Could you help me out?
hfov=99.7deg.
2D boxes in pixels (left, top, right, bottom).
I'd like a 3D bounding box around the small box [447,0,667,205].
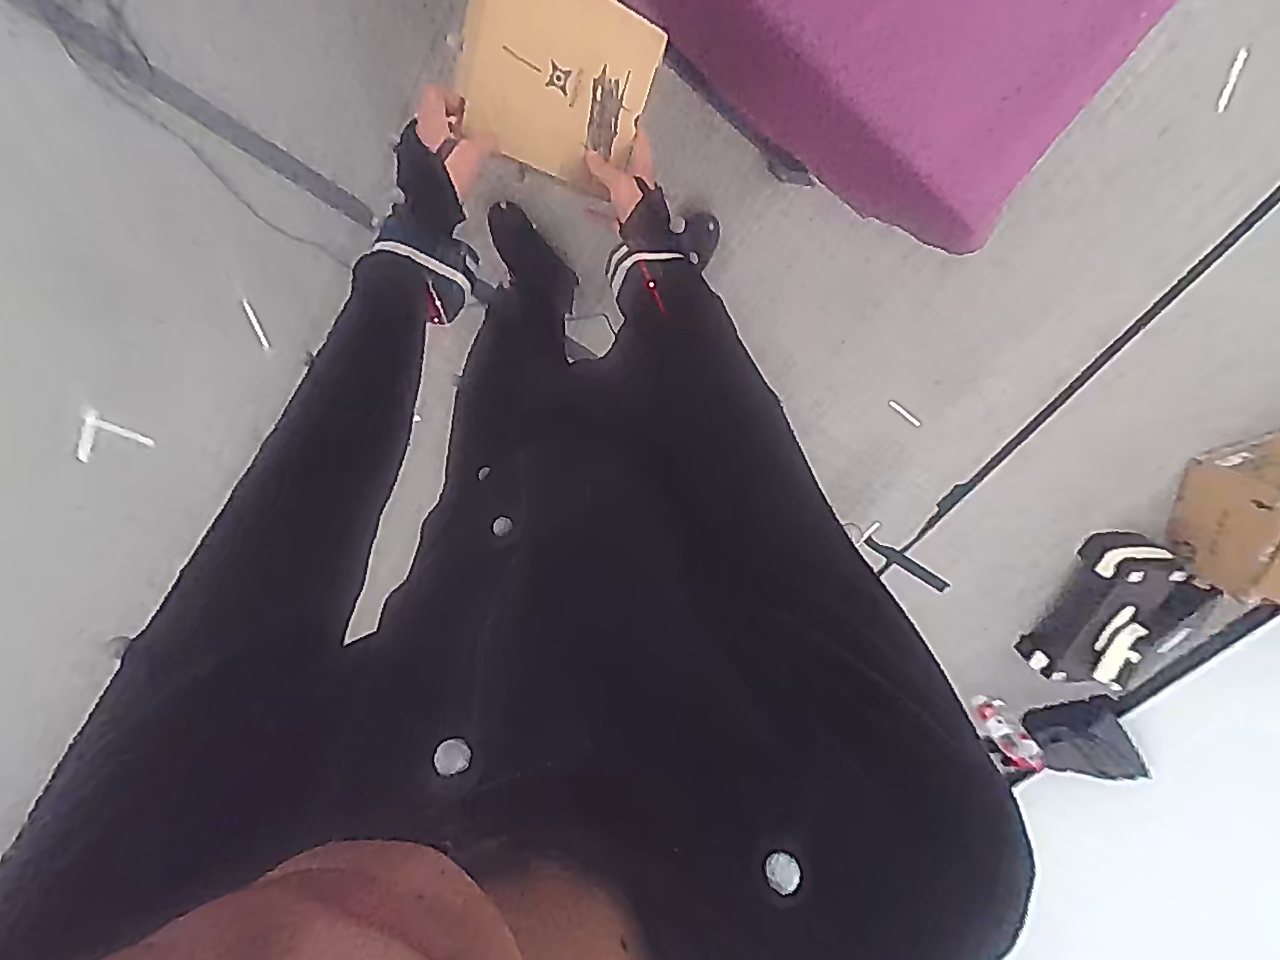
[{"bbox_3d":[-0.103,-0.429,0.598,0.179,0.176,0.168,9,115,-29],"label":"small box"}]
